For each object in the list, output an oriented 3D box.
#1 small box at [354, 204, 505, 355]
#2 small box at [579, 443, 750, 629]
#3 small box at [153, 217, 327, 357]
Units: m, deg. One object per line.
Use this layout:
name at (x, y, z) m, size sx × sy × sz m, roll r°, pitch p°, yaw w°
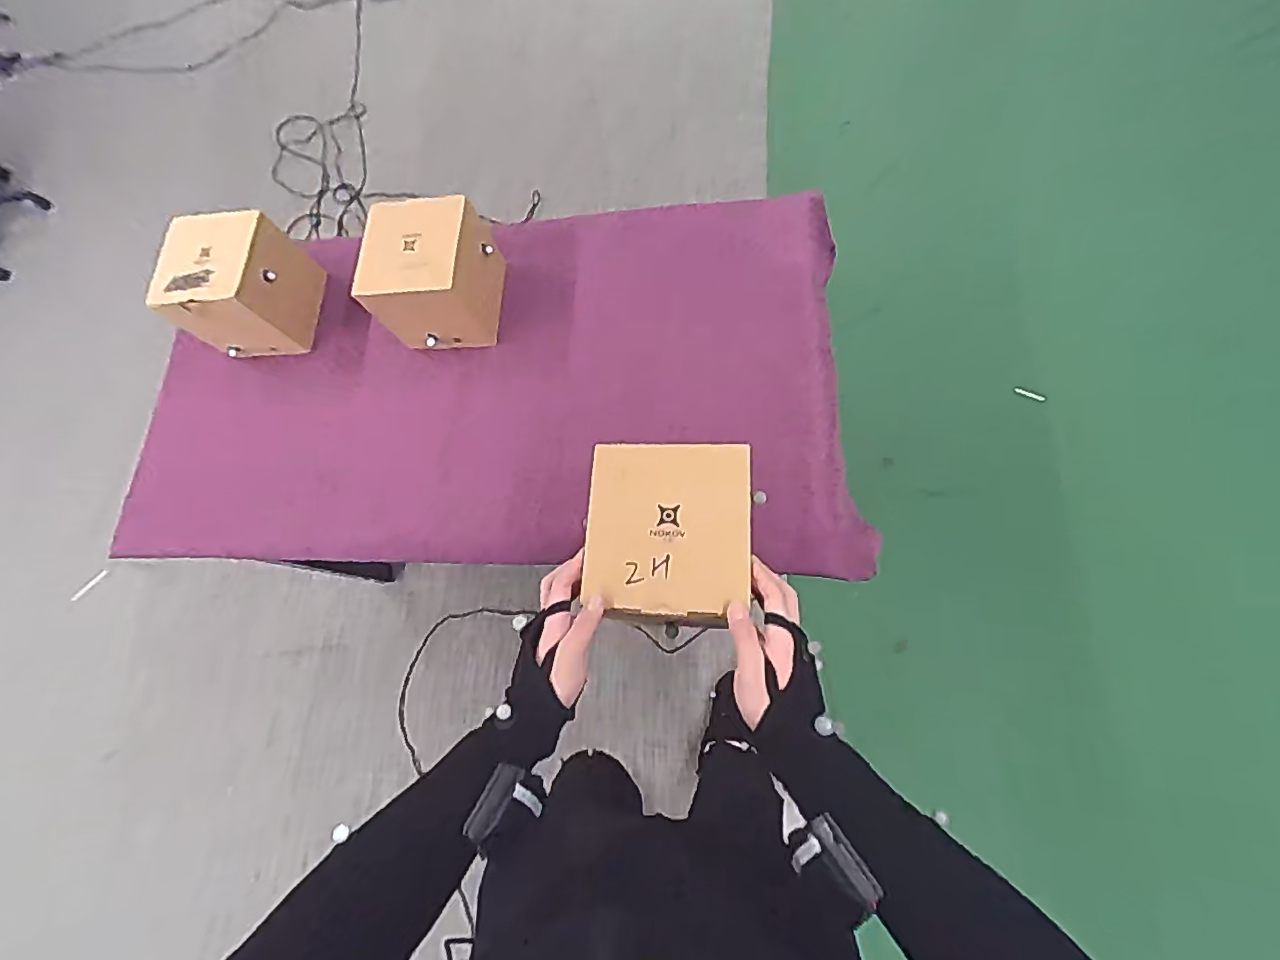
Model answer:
small box at (-0.340, -0.331, 0.913) m, size 0.168 × 0.176 × 0.179 m, roll 0°, pitch 73°, yaw 9°
small box at (0.038, 0.070, 0.618) m, size 0.168 × 0.176 × 0.179 m, roll 1°, pitch 71°, yaw 10°
small box at (-0.695, -0.331, 0.964) m, size 0.168 × 0.176 × 0.179 m, roll -1°, pitch 72°, yaw 8°
